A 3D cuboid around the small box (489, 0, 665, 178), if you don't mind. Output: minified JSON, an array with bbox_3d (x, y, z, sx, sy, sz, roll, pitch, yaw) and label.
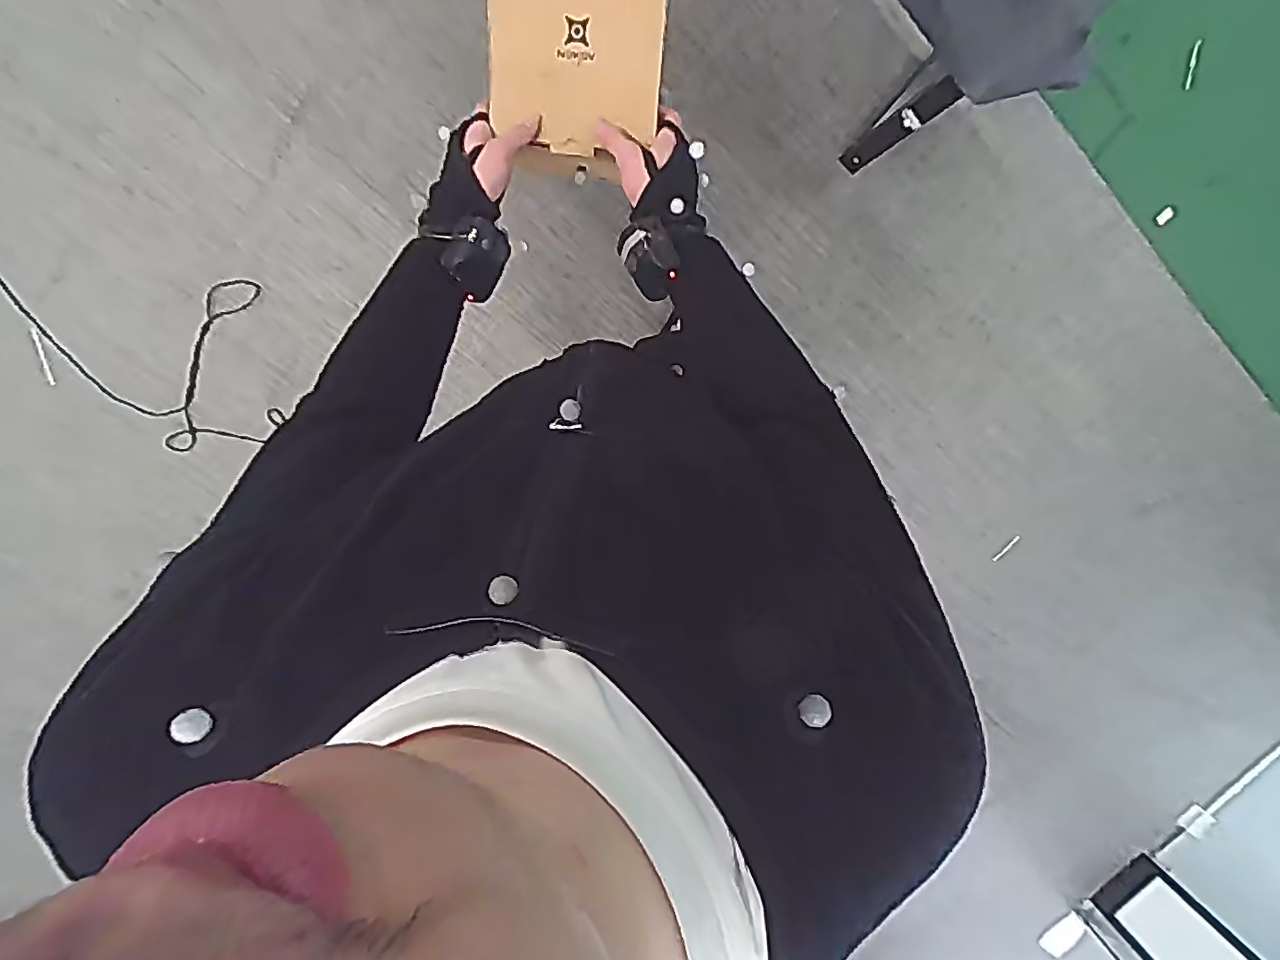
[{"bbox_3d":[-0.059,-0.441,0.588,0.168,0.176,0.179,2,109,0],"label":"small box"}]
